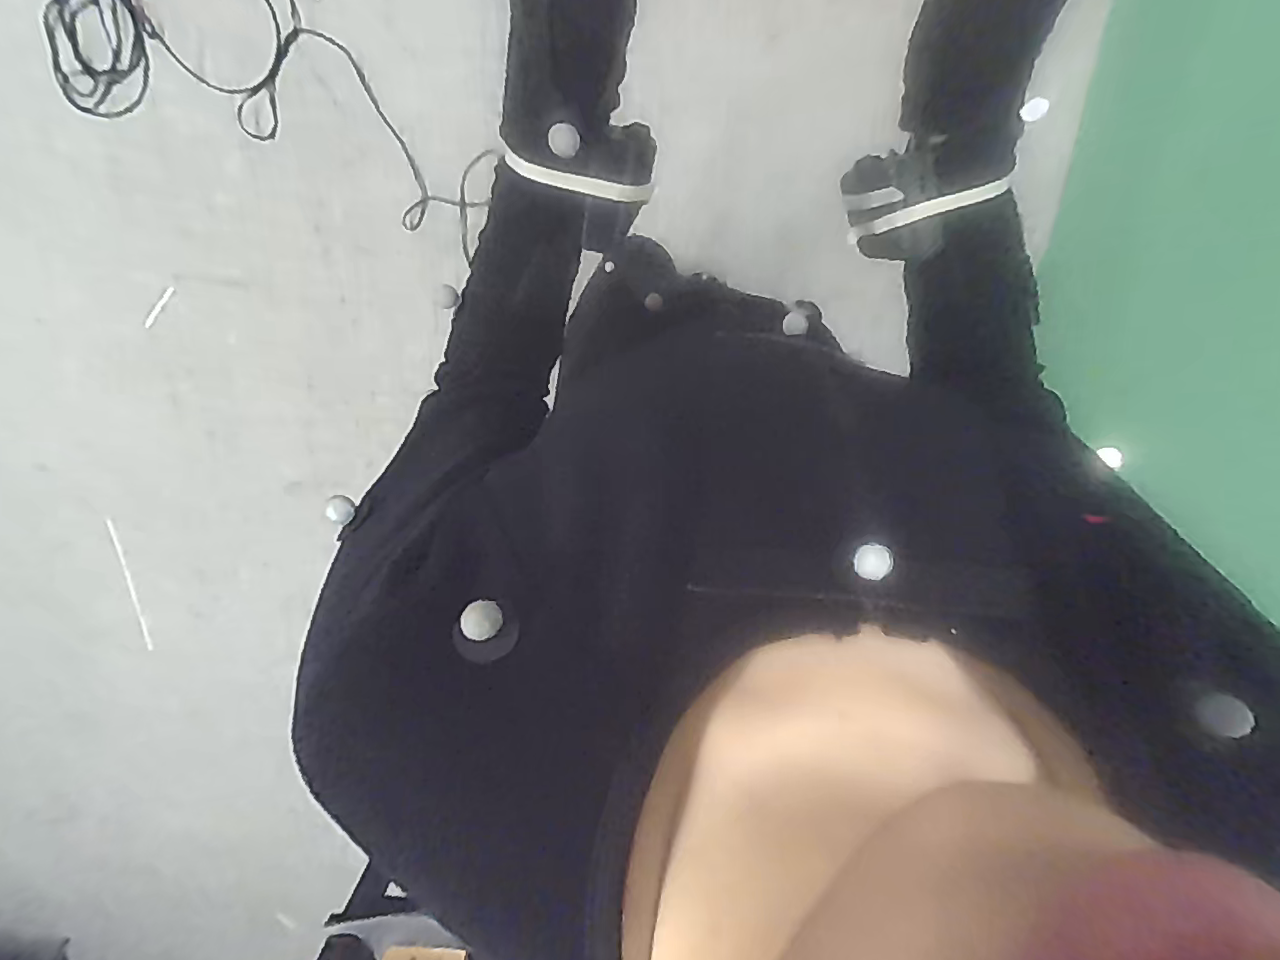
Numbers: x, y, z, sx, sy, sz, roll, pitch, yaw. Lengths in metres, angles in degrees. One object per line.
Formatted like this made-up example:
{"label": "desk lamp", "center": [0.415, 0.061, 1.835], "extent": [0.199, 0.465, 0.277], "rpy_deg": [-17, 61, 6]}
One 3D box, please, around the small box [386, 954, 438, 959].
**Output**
{"label": "small box", "center": [-0.436, 1.061, 1.031], "extent": [0.168, 0.176, 0.179], "rpy_deg": [2, 109, 2]}
